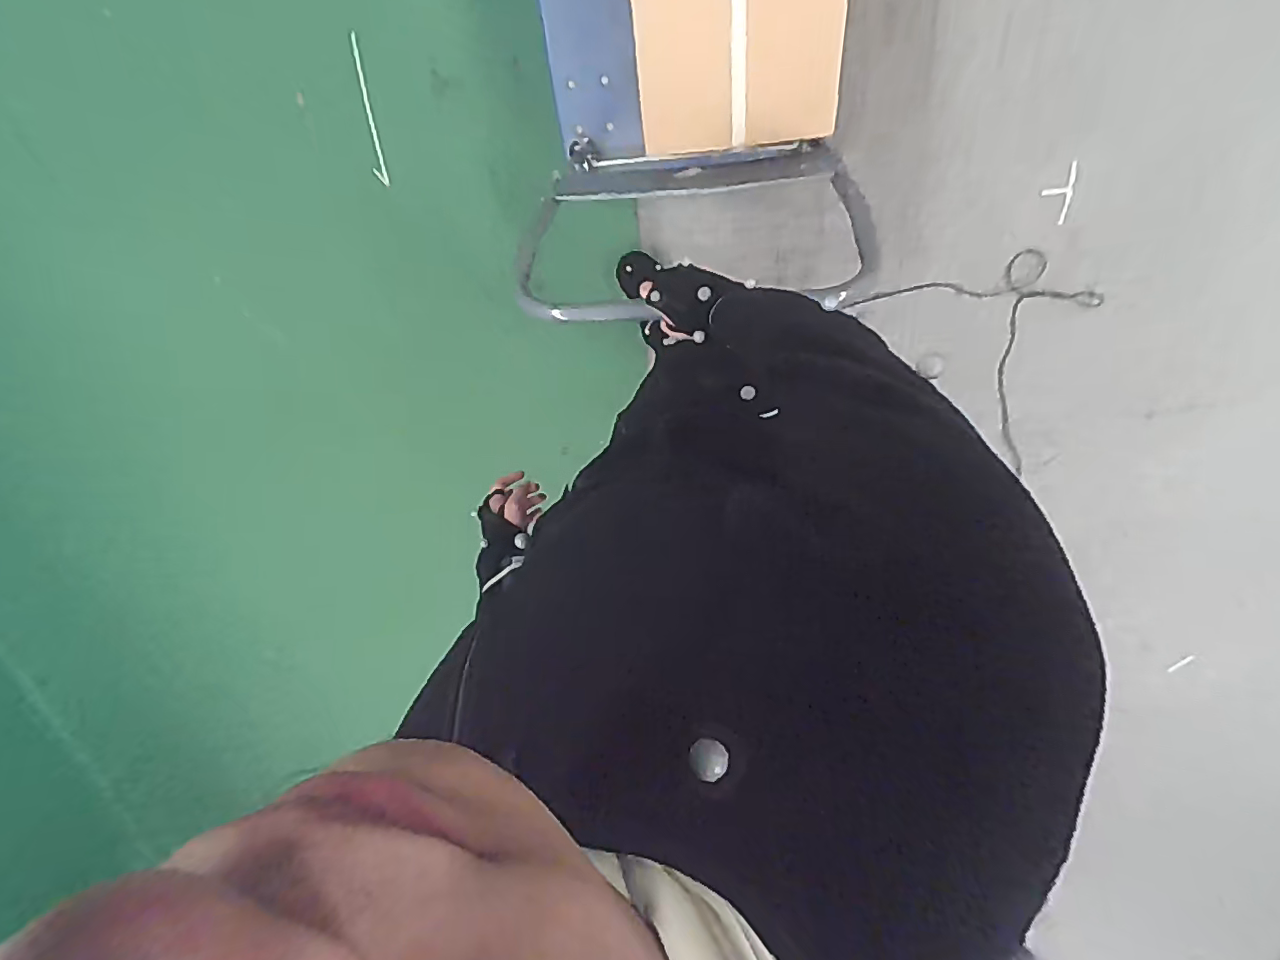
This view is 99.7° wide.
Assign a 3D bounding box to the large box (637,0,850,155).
[{"bbox_3d":[0.164,-0.810,0.898,0.320,0.320,0.408,-1,130,8],"label":"large box"}]
